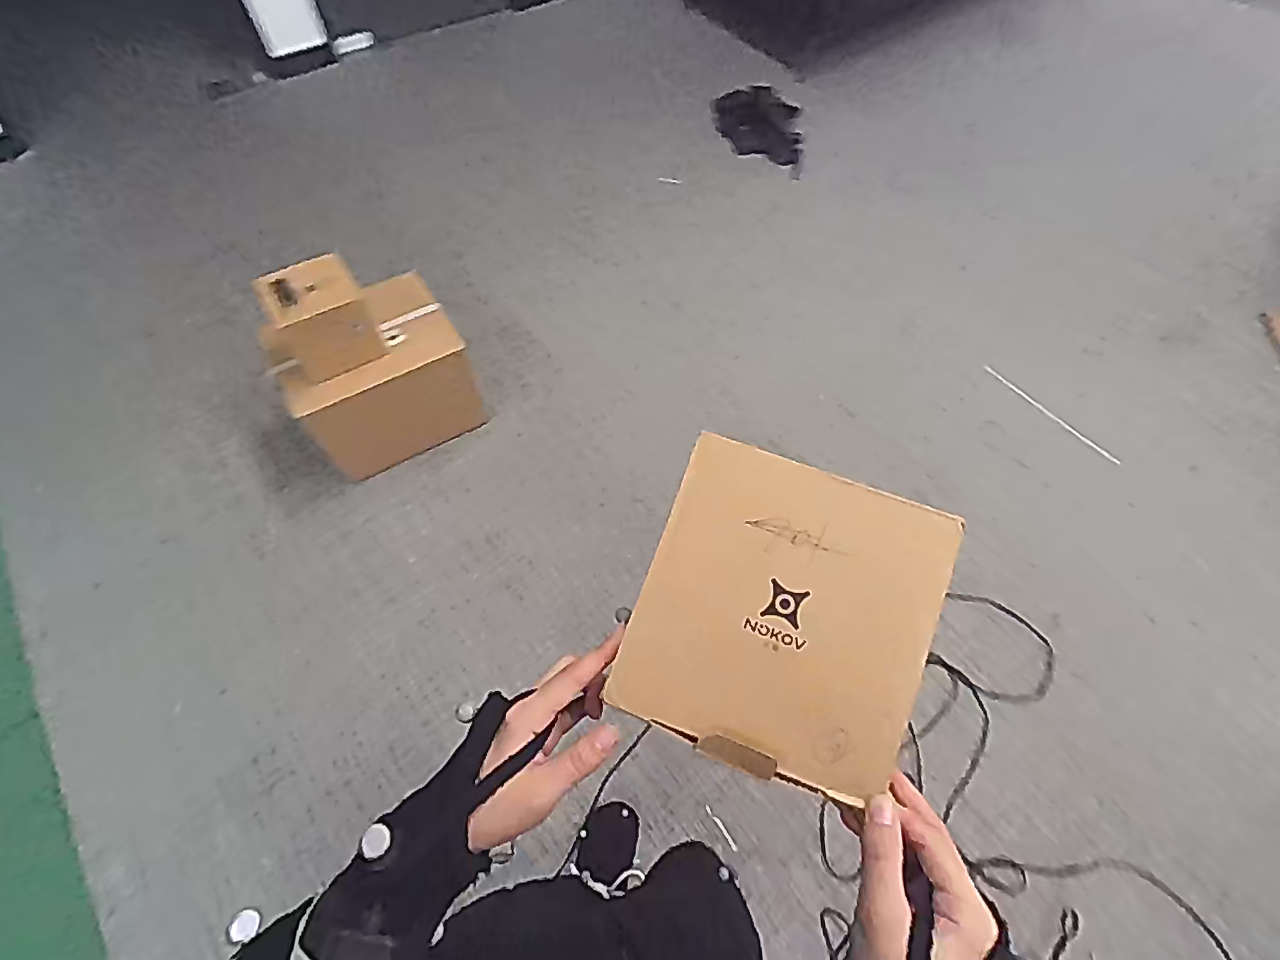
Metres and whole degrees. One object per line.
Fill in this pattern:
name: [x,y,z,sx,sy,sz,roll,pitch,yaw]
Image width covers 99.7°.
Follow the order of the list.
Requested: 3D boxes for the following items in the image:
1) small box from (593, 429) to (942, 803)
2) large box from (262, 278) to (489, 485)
small box: [0.082,0.087,0.396,0.168,0.176,0.179,18,80,7]
large box: [-0.668,-0.254,1.426,0.408,0.320,0.320,-29,67,-19]
